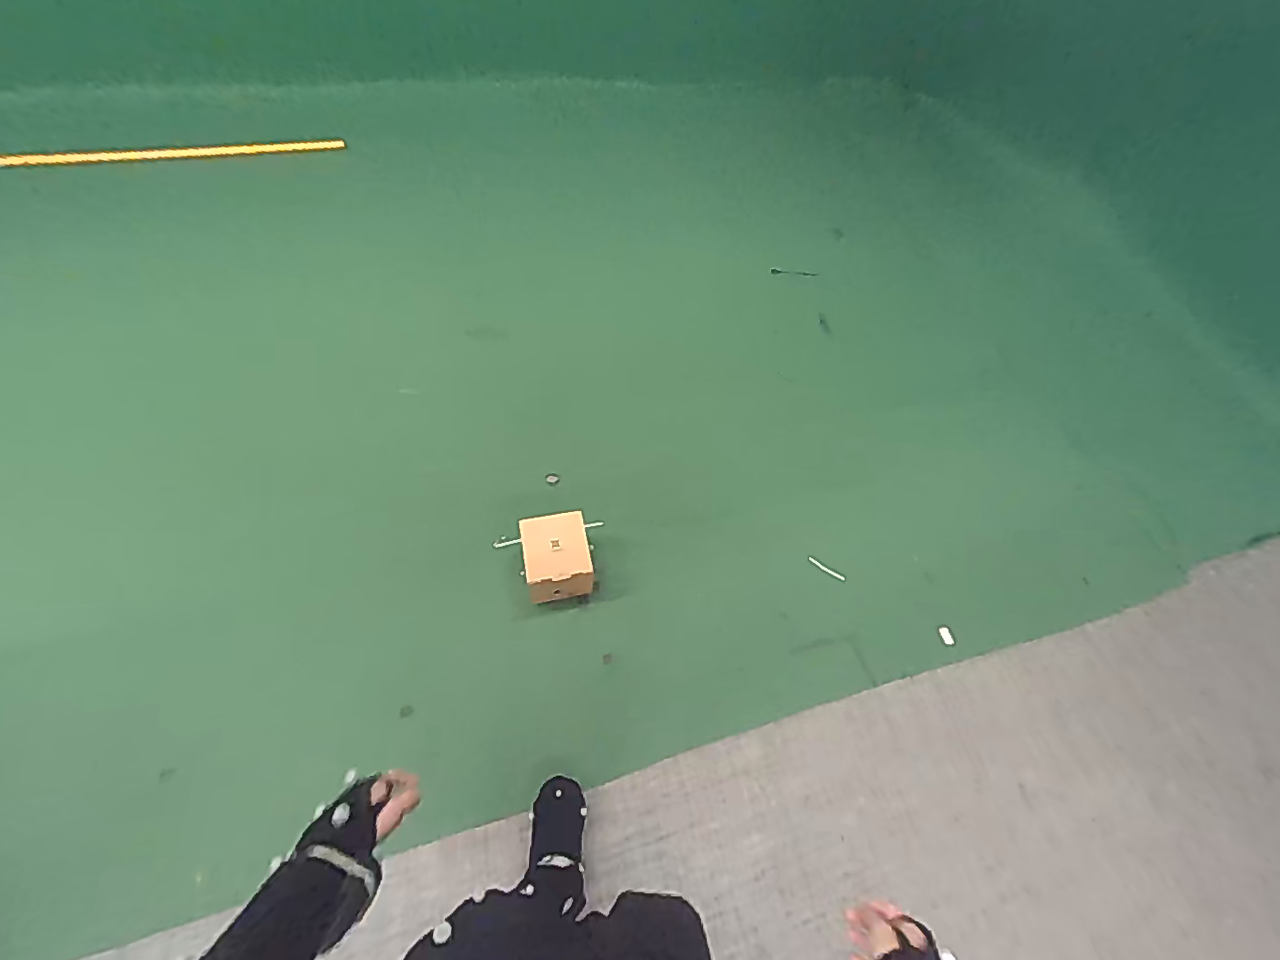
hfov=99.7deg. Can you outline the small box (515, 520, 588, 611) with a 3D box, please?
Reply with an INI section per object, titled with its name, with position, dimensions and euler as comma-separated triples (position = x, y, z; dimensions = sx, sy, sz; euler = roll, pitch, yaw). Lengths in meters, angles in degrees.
[small box]
position = -0.238, 0.228, 1.439
dimensions = 0.168, 0.176, 0.179
euler = -9, 62, -13
